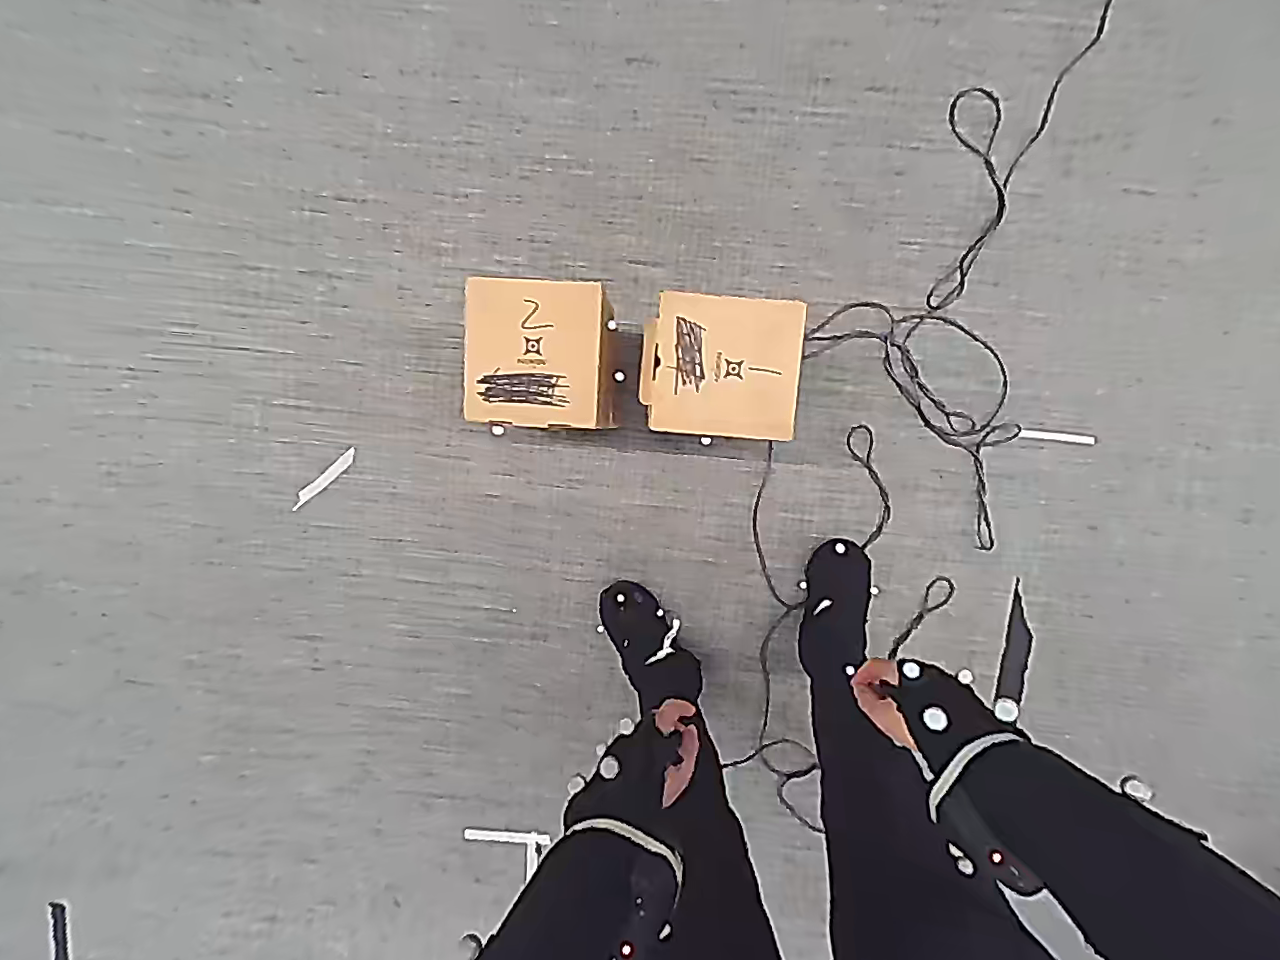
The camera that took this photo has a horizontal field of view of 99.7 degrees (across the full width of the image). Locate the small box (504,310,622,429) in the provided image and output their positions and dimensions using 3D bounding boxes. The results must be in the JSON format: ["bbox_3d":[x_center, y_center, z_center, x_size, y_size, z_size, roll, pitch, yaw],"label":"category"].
[{"bbox_3d":[-0.119,-0.174,0.892,0.168,0.176,0.179,-1,97,2],"label":"small box"}]

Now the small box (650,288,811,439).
[{"bbox_3d":[0.109,-0.144,0.716,0.179,0.176,0.168,5,97,1],"label":"small box"}]
